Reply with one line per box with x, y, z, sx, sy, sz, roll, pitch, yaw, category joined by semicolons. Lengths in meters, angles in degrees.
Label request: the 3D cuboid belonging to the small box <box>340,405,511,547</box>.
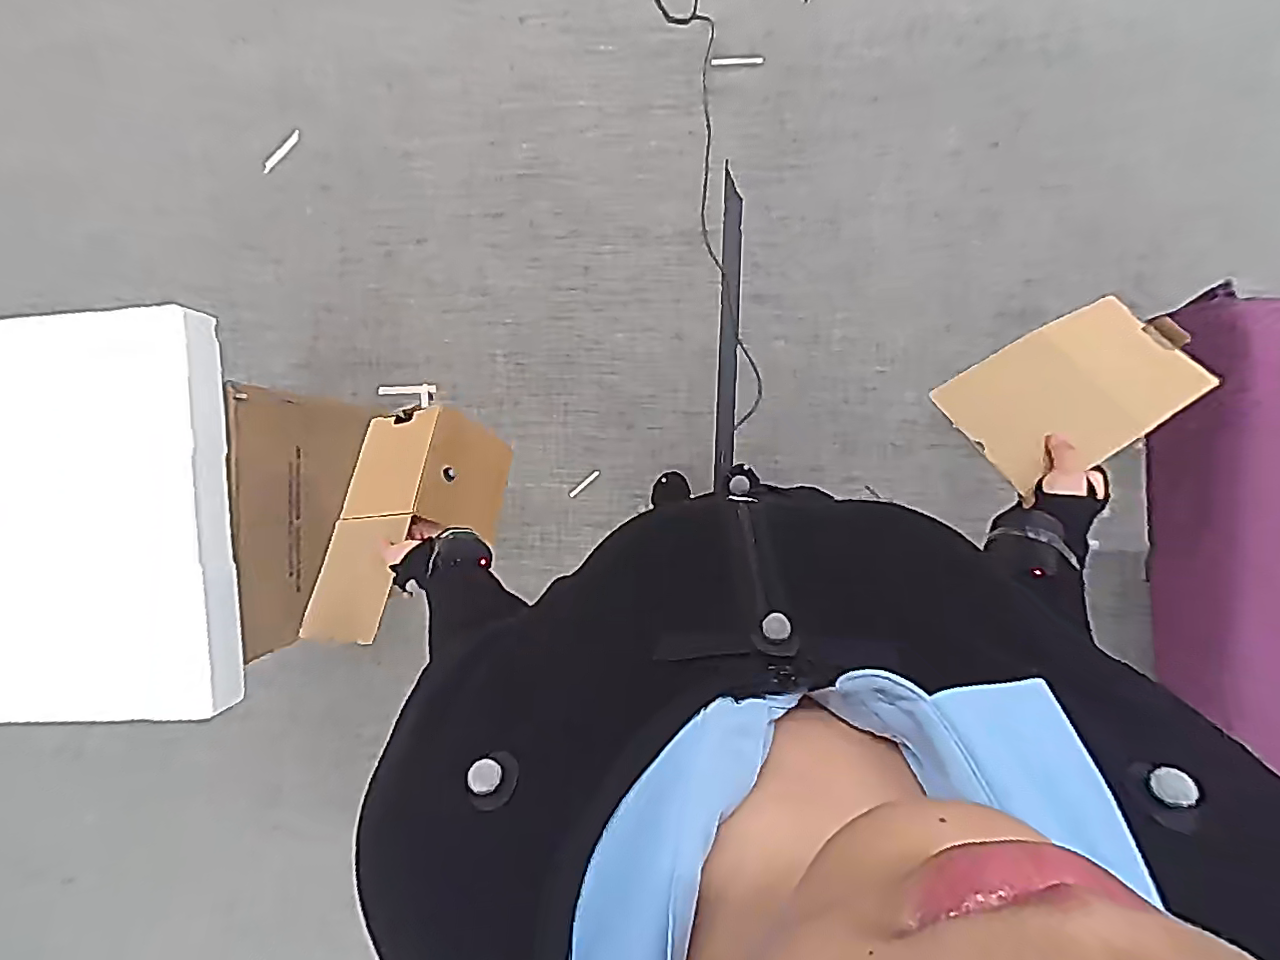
-0.329;0.006;0.861;0.168;0.176;0.179;-5;65;28;small box
